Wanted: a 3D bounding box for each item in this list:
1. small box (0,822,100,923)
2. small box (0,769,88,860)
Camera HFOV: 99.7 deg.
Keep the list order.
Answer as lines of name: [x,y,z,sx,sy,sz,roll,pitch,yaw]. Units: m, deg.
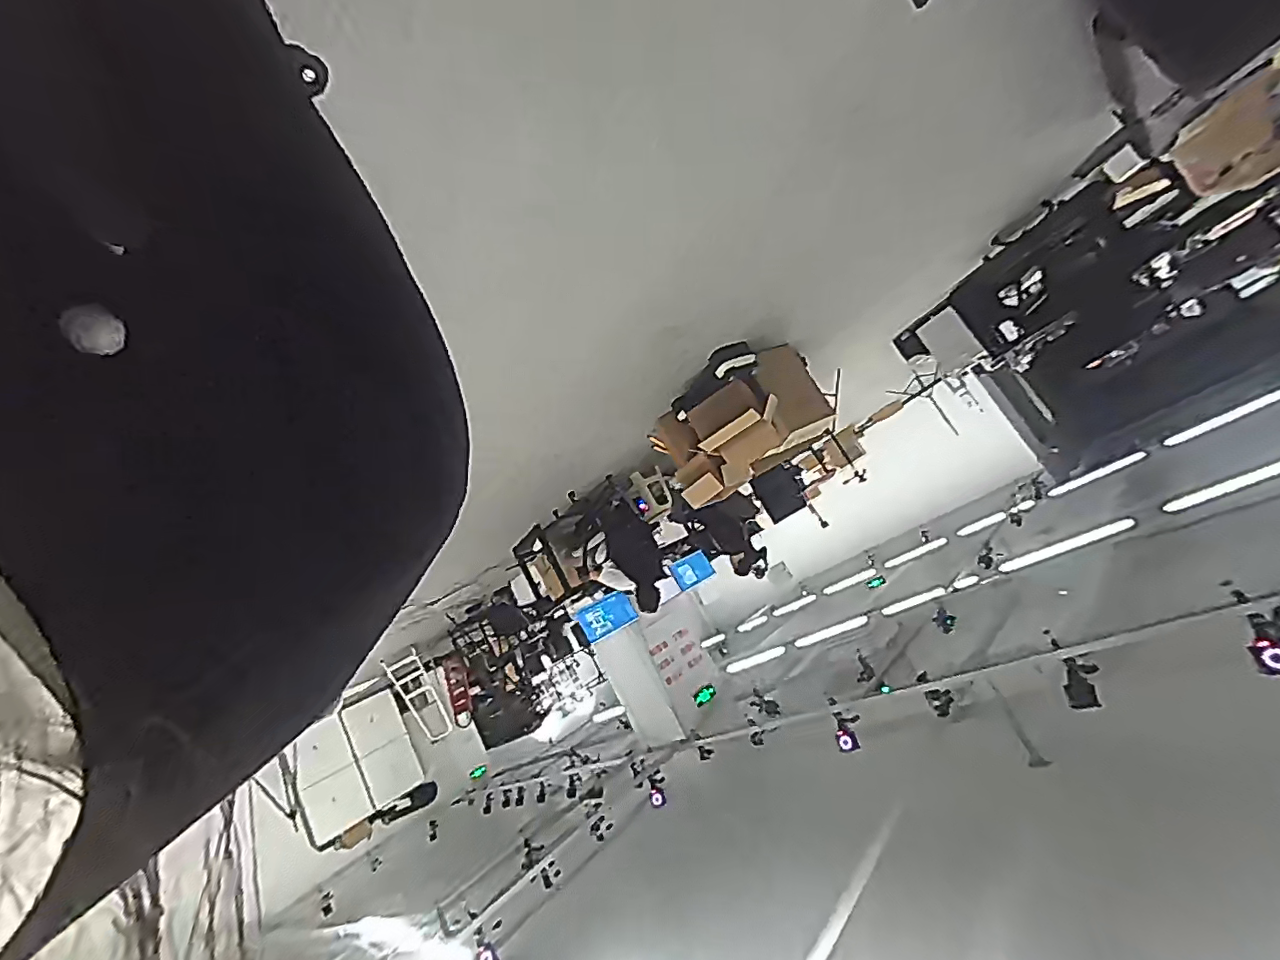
small box: [-1.719,1.132,1.569,0.179,0.176,0.168,-17,162,-42]
small box: [-1.793,0.990,1.607,0.179,0.176,0.168,-15,161,-44]
